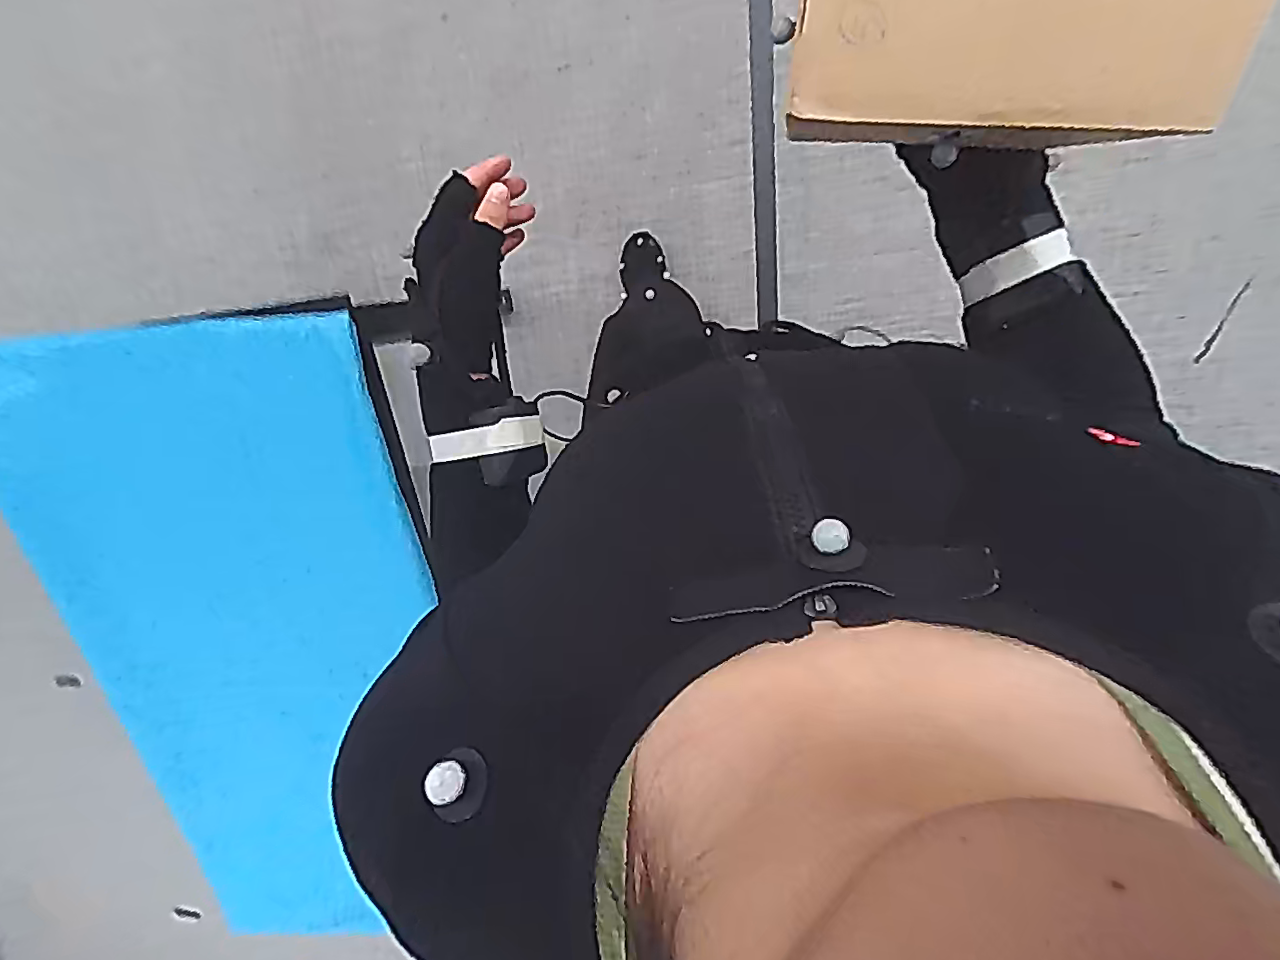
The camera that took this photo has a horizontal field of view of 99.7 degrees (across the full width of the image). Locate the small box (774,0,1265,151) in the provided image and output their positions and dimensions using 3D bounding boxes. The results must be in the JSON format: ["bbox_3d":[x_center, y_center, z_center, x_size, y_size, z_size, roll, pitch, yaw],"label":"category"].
[{"bbox_3d":[0.172,-0.265,0.265,0.179,0.176,0.168,11,121,10],"label":"small box"}]
